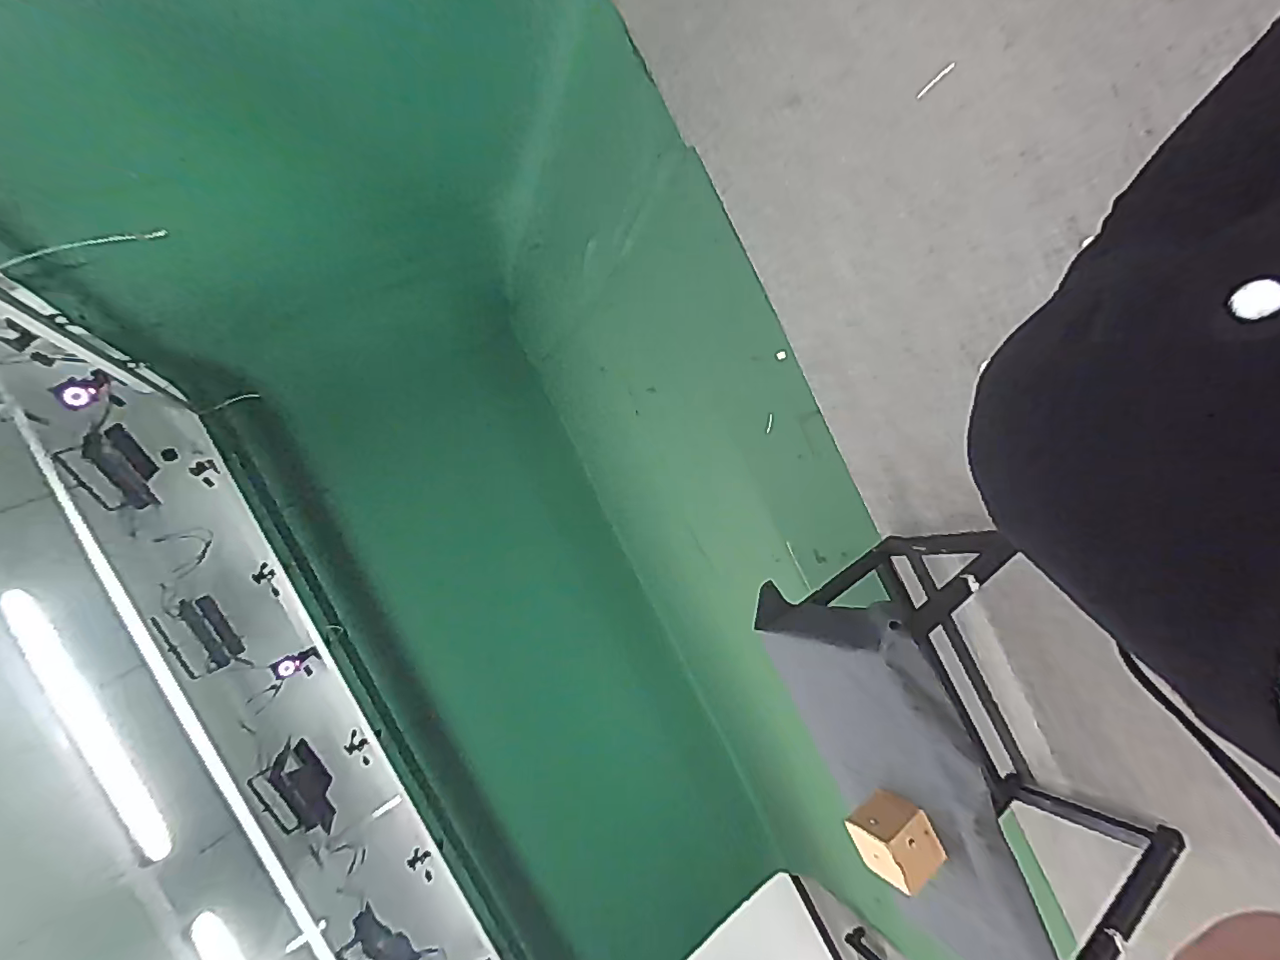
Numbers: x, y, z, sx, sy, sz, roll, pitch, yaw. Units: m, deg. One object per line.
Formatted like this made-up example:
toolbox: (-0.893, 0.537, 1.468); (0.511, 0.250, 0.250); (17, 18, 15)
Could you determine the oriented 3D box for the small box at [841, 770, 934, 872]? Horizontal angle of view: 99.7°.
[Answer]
small box: (0.766, 1.033, 1.657); (0.168, 0.176, 0.179); (63, 159, -2)
